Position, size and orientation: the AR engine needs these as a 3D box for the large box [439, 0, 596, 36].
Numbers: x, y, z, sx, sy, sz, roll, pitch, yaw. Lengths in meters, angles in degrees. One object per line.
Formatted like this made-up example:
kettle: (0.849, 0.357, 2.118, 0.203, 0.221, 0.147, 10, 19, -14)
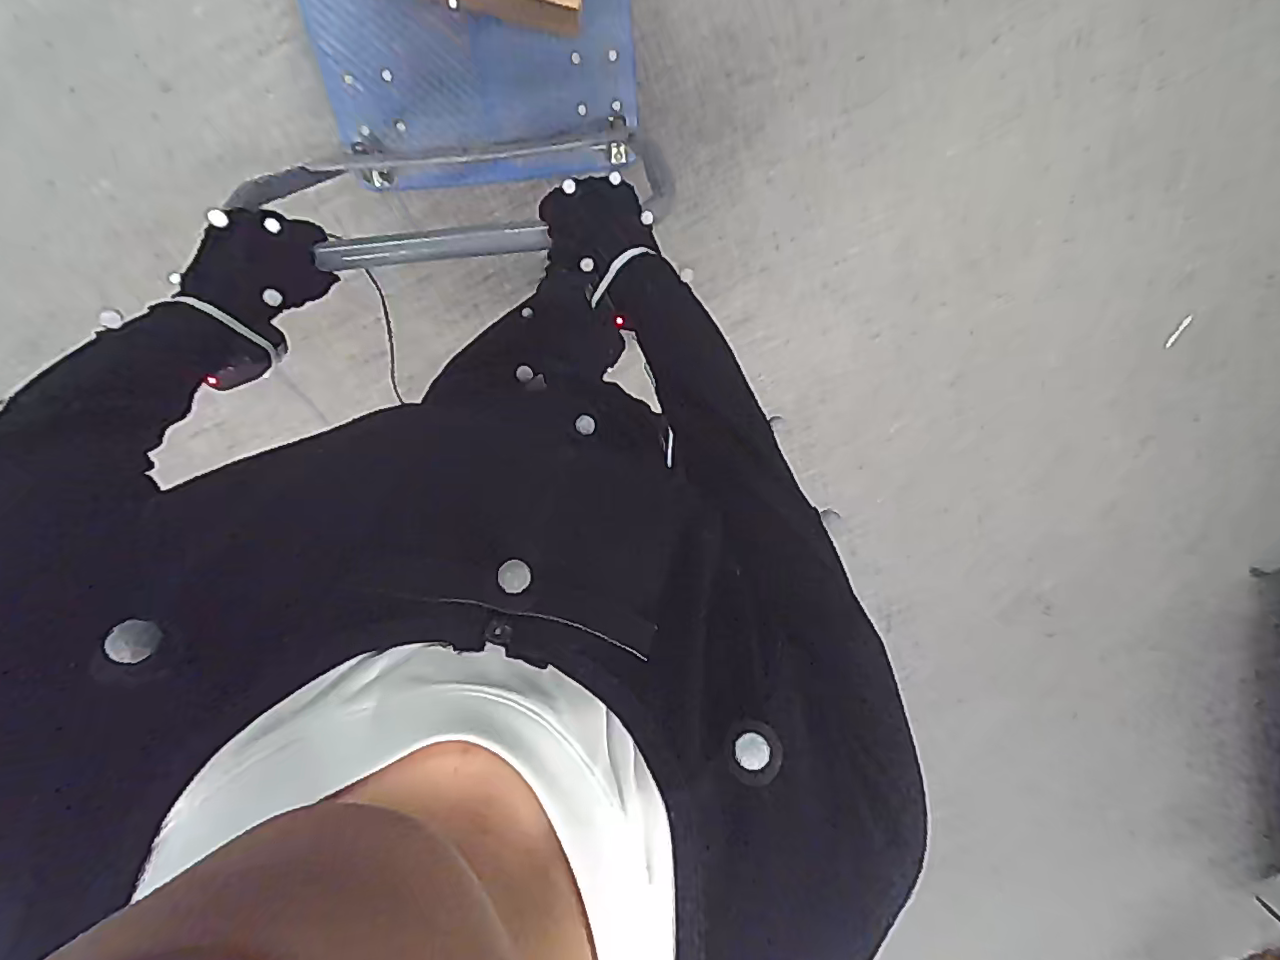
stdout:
large box: (-0.247, -0.883, 0.765, 0.408, 0.320, 0.320, 8, 121, -10)
